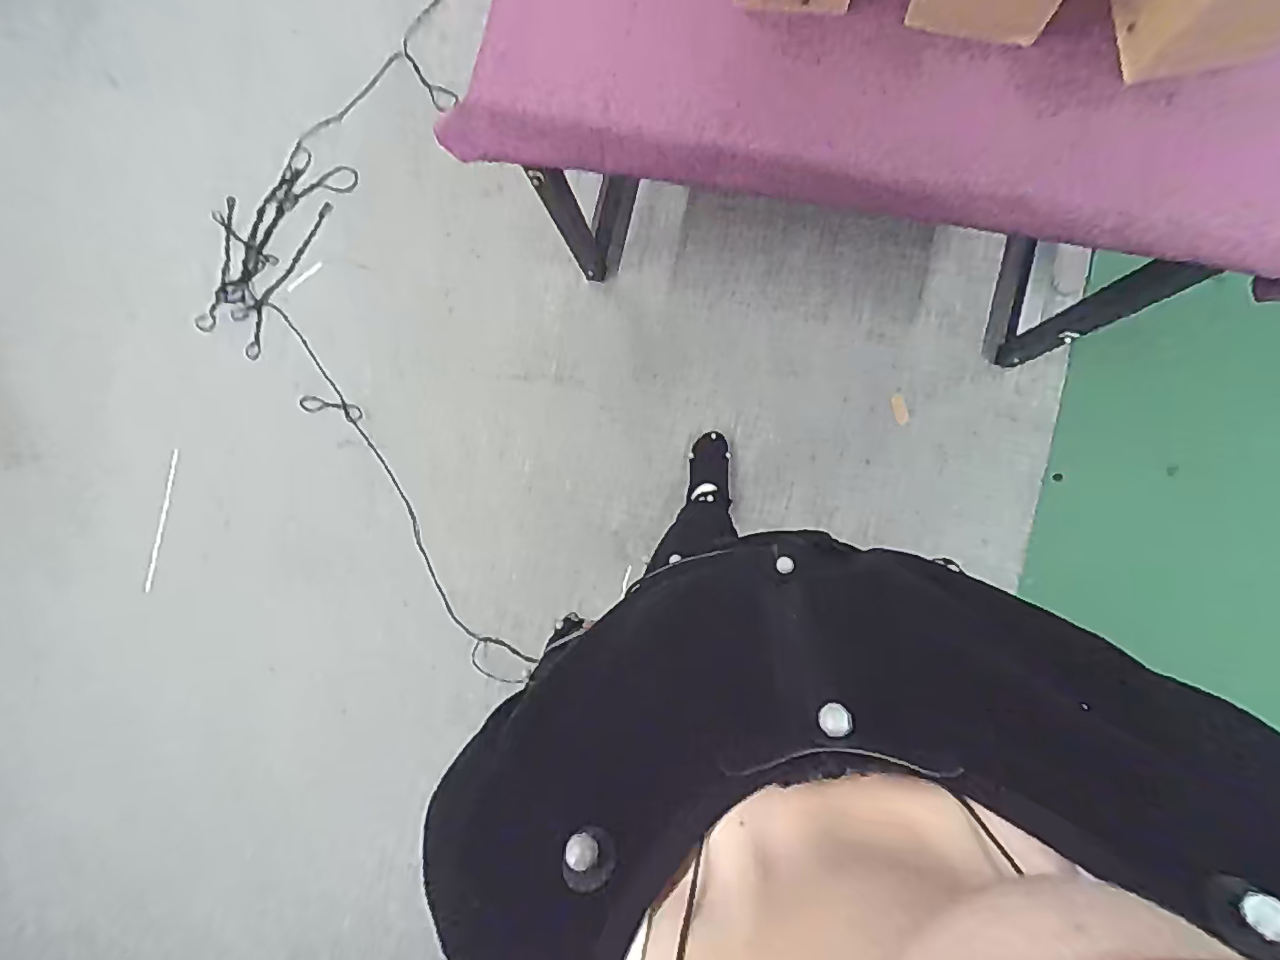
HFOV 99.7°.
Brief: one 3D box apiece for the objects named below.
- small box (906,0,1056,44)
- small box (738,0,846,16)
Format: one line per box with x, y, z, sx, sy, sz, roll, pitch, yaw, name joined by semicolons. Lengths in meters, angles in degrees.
0.466;-0.700;0.678;0.179;0.176;0.168;18;91;7;small box
0.219;-0.773;0.711;0.168;0.176;0.179;10;90;8;small box
